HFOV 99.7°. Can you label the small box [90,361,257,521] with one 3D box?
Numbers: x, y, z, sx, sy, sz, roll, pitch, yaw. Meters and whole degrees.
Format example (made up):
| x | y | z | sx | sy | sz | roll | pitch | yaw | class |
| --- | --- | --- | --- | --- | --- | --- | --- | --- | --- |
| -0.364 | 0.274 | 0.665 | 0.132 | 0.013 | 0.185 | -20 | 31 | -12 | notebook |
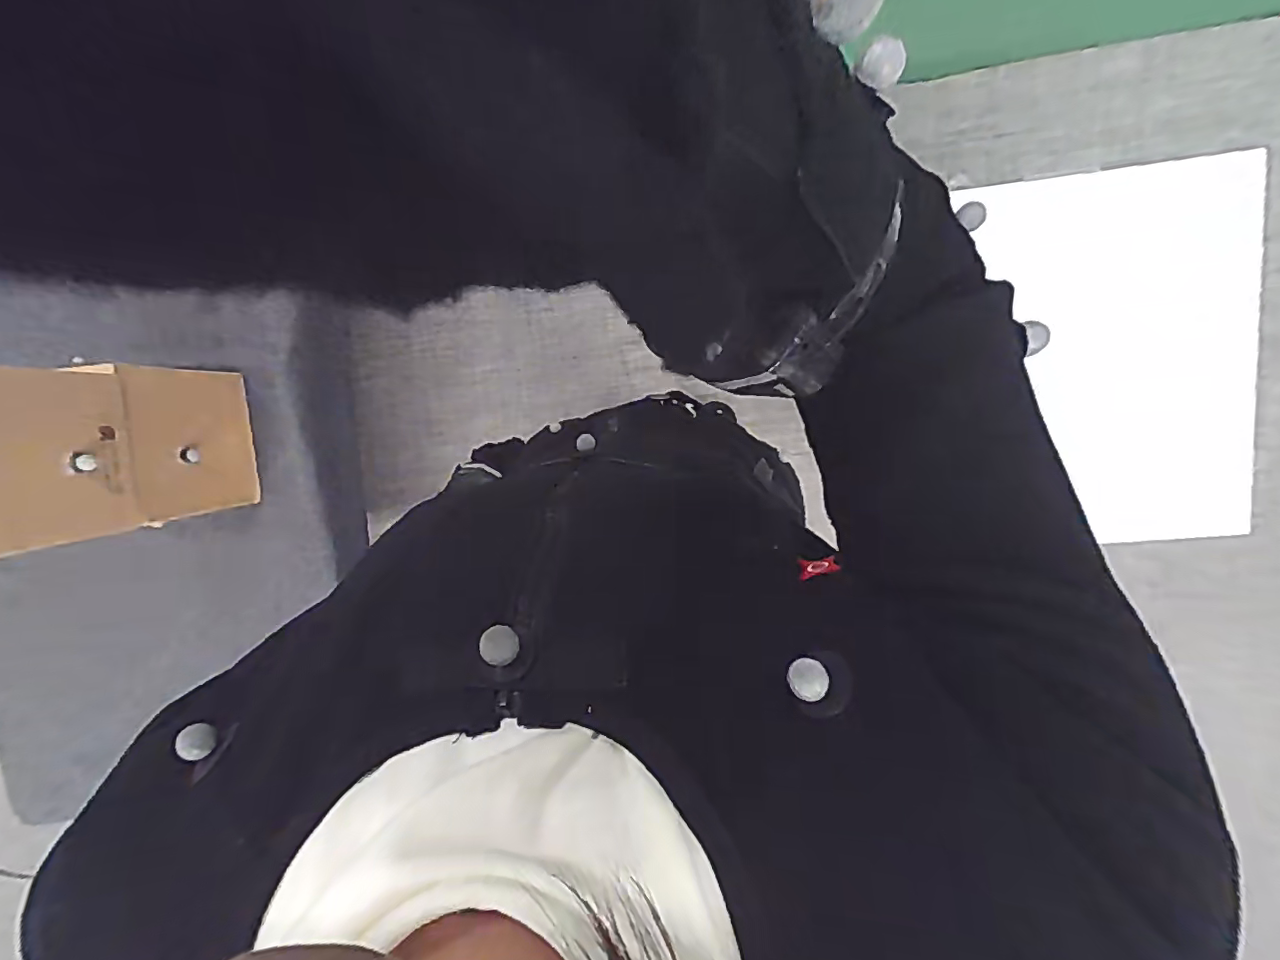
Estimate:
| x | y | z | sx | sy | sz | roll | pitch | yaw | class |
| --- | --- | --- | --- | --- | --- | --- | --- | --- | --- |
| -0.617 | -0.052 | 0.670 | 0.168 | 0.176 | 0.179 | -3 | 98 | 7 | small box |
